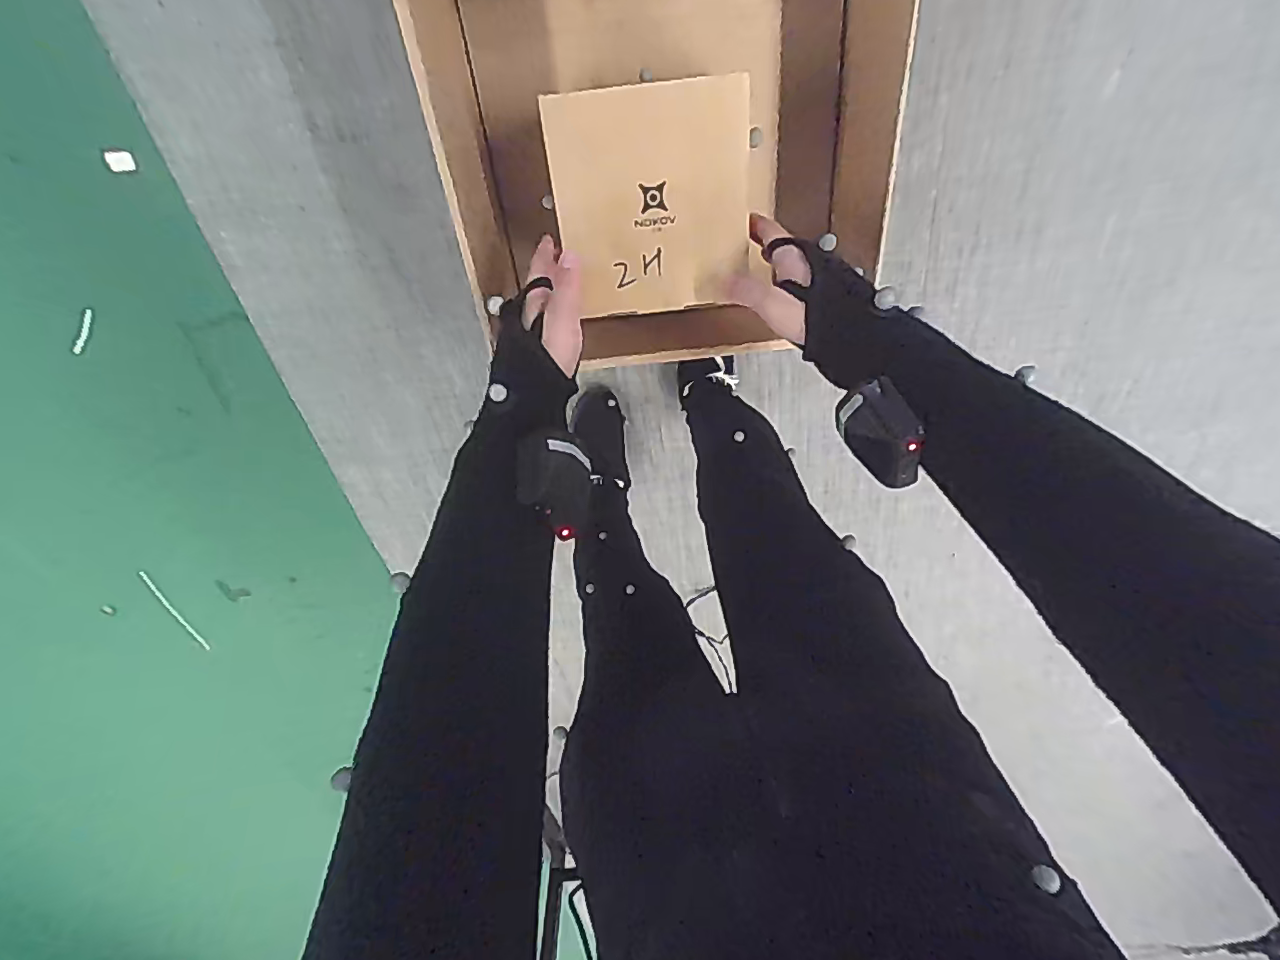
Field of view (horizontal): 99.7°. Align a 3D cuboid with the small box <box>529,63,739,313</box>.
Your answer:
[{"bbox_3d":[0.000,-0.278,0.523,0.168,0.176,0.179,-5,123,3],"label":"small box"}]
